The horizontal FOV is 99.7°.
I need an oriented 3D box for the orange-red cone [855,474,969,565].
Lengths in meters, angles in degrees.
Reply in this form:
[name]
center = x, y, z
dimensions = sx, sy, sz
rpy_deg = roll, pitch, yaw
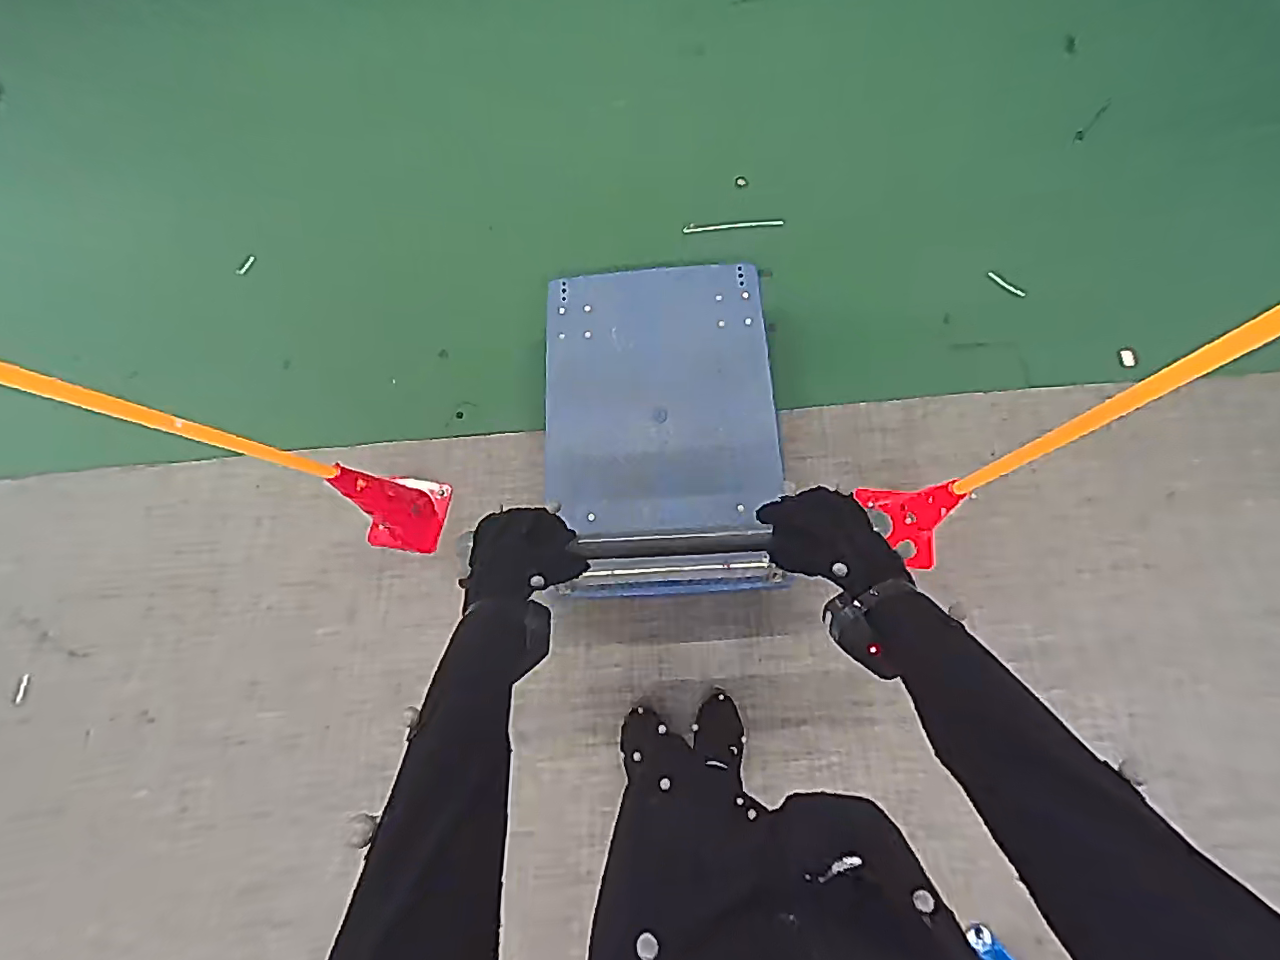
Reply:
[orange-red cone]
center = 0.642, 0.060, 1.226
dimensions = 0.198, 0.360, 0.199
rpy_deg = 6, 74, 7
